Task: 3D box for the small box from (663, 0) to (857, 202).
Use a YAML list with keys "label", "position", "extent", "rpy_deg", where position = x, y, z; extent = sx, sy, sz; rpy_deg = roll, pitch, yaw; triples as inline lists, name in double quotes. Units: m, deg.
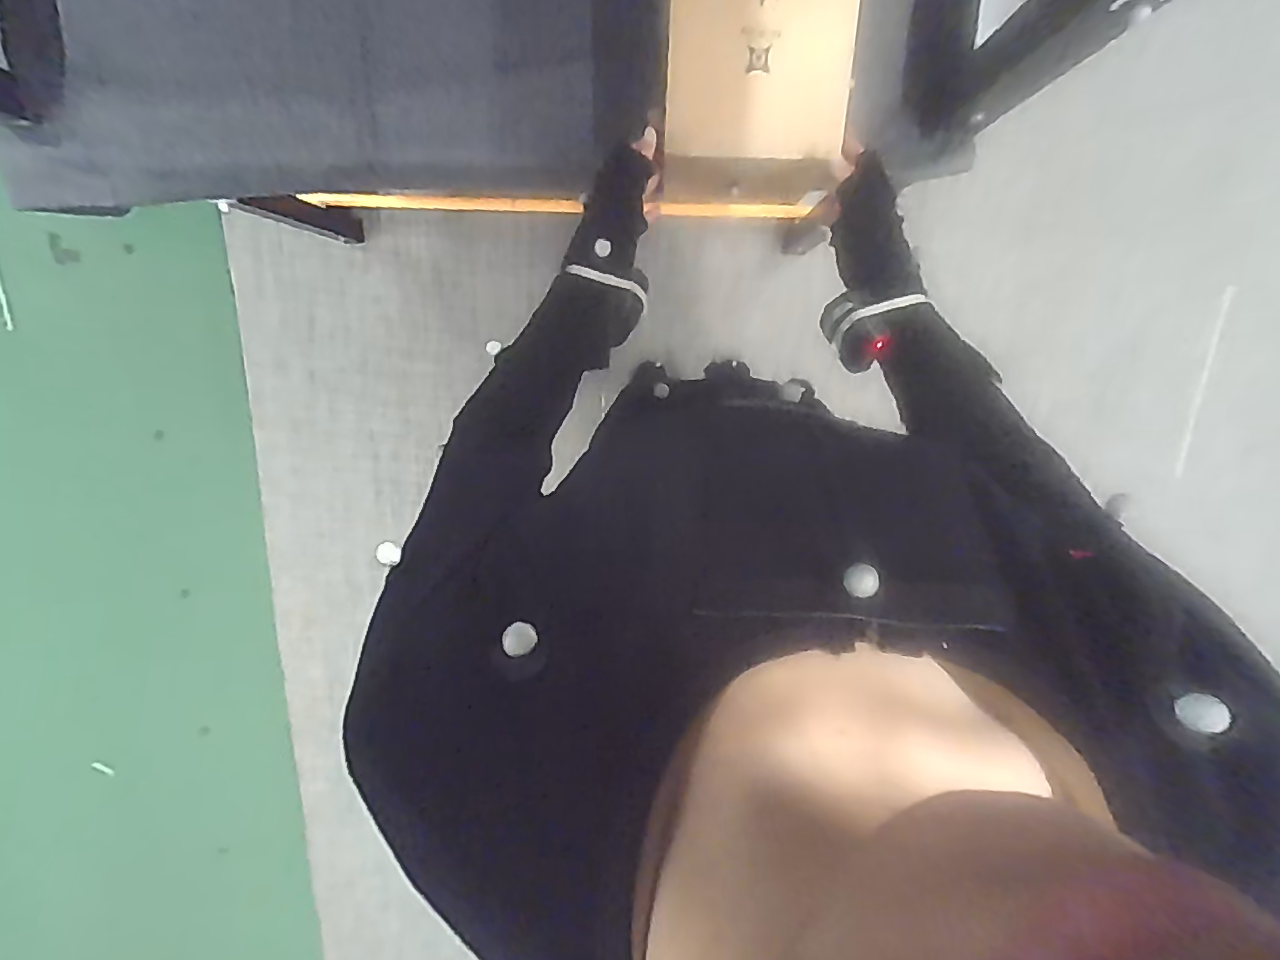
- label: "small box"
  position: [0.112, -0.403, 0.565]
  extent: [0.168, 0.176, 0.179]
  rpy_deg: [3, 105, 2]
